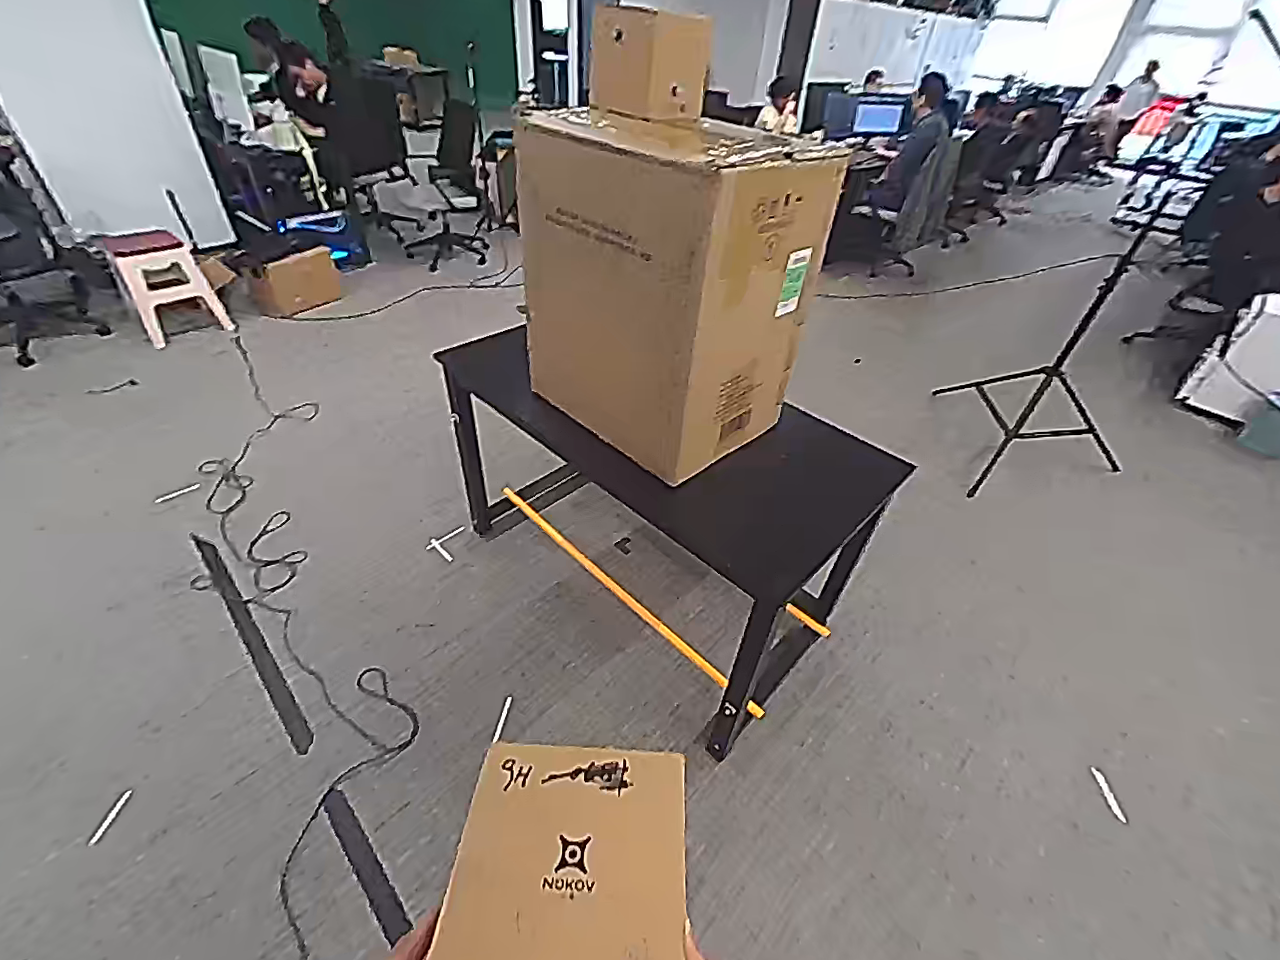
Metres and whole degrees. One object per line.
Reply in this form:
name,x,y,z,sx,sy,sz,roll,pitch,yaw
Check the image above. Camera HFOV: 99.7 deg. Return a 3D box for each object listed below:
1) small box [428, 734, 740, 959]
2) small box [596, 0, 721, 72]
small box,-0.027,0.294,0.353,0.168,0.176,0.179,2,38,1
small box,0.032,-0.885,1.013,0.168,0.176,0.179,-29,53,-36
